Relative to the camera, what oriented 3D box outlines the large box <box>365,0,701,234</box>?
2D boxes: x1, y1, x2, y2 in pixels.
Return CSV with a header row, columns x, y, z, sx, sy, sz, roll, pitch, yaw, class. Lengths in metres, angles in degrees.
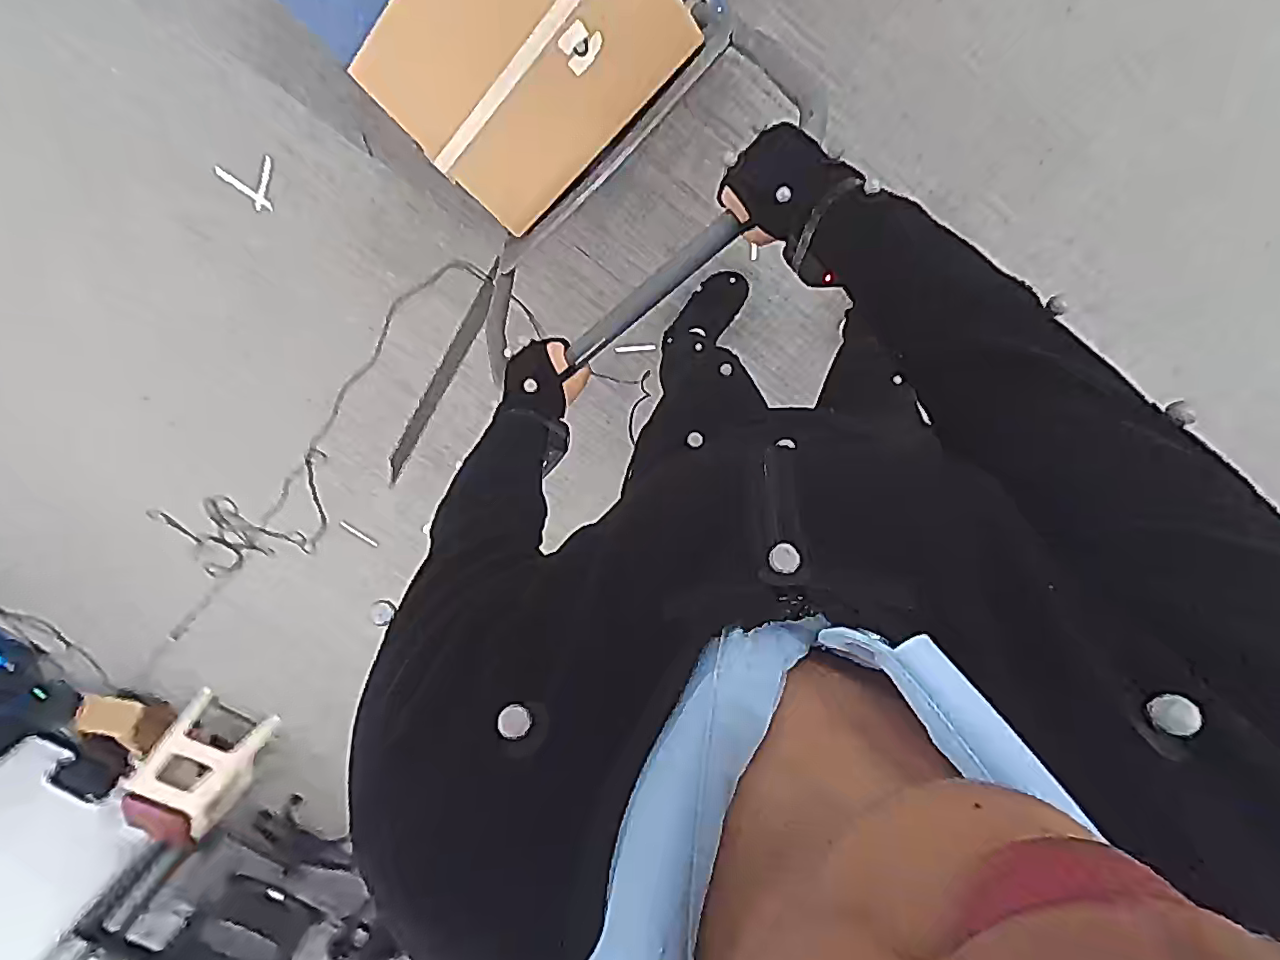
x,y,z,sx,sy,sz,roll,pitch,yaw,class
-0.164,-0.704,0.884,0.408,0.320,0.320,-36,125,25,large box
